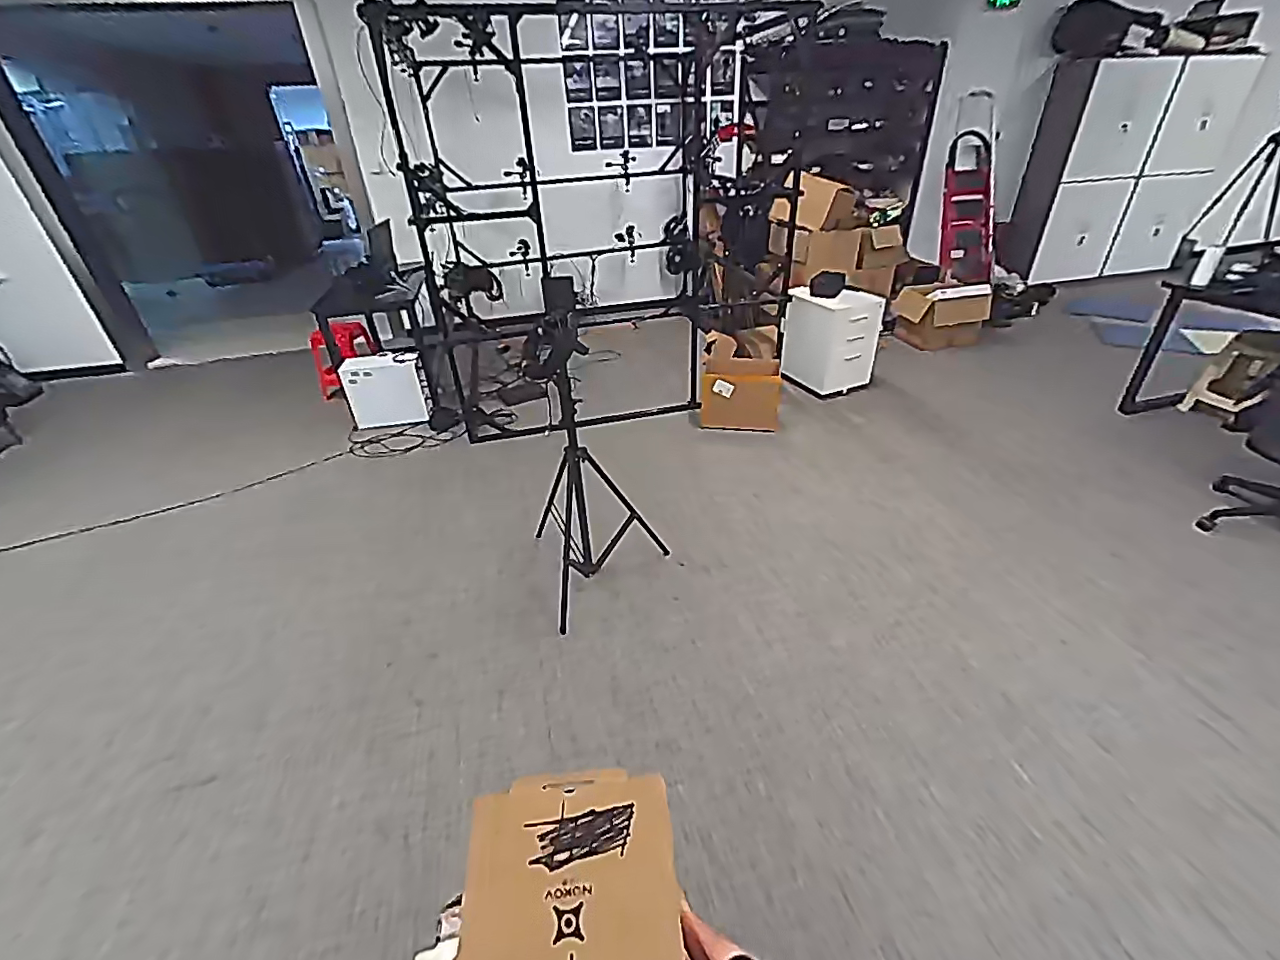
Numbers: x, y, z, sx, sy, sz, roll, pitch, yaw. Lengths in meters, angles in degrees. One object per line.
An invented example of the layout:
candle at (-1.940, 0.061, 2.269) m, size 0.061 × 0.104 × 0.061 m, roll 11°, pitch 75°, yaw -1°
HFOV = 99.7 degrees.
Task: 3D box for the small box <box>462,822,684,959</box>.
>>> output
small box at (-0.048, 0.413, 0.446) m, size 0.168 × 0.176 × 0.179 m, roll -5°, pitch 44°, yaw -4°
